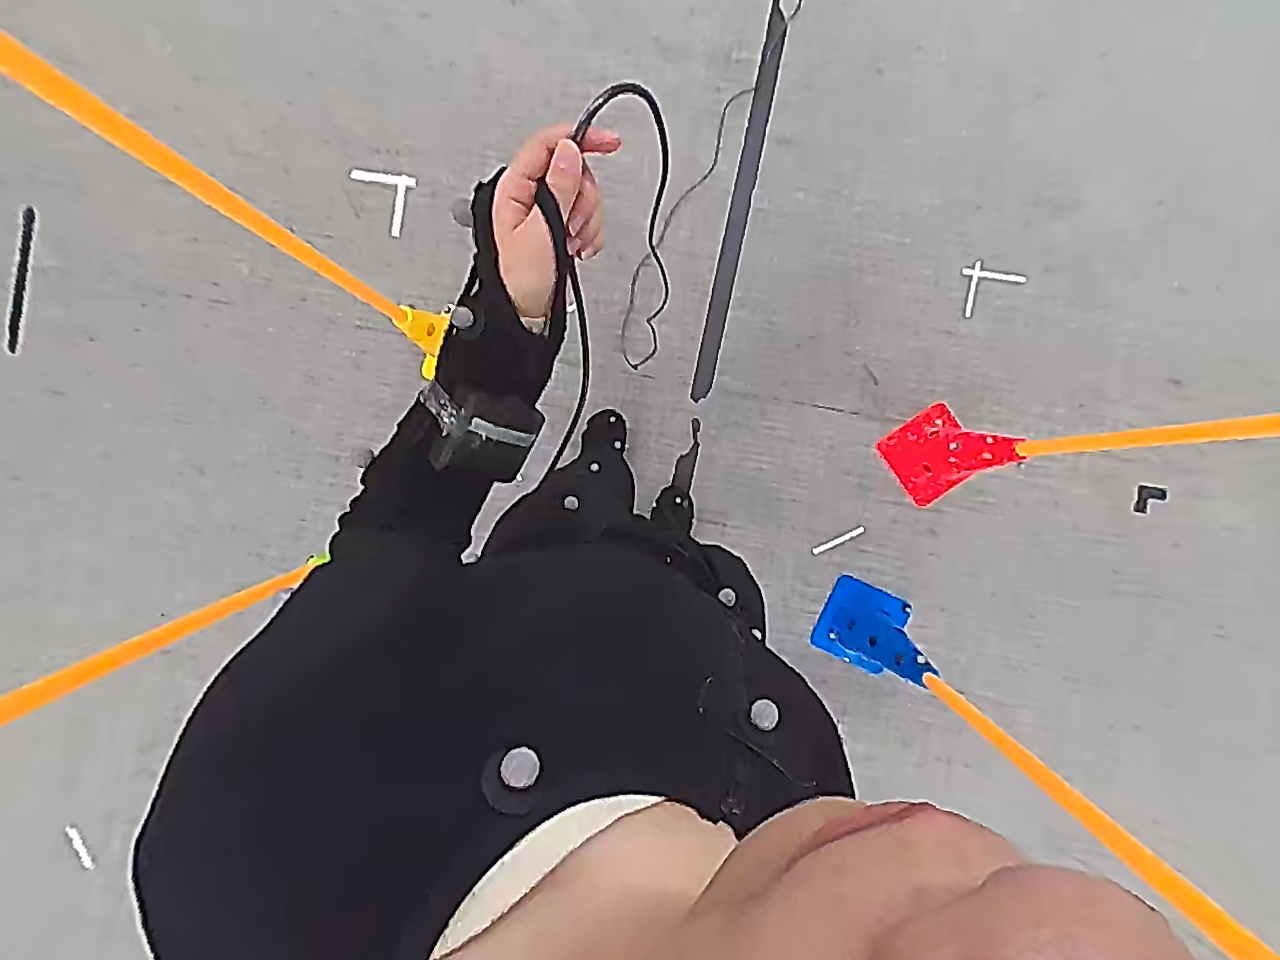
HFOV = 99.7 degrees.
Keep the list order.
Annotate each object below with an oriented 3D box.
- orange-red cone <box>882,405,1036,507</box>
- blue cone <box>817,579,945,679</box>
[{"bbox_3d":[0.705,-0.055,1.147,0.199,0.360,0.198,-34,88,4],"label":"orange-red cone"},{"bbox_3d":[0.545,0.357,1.173,0.193,0.380,0.192,26,91,2],"label":"blue cone"}]
